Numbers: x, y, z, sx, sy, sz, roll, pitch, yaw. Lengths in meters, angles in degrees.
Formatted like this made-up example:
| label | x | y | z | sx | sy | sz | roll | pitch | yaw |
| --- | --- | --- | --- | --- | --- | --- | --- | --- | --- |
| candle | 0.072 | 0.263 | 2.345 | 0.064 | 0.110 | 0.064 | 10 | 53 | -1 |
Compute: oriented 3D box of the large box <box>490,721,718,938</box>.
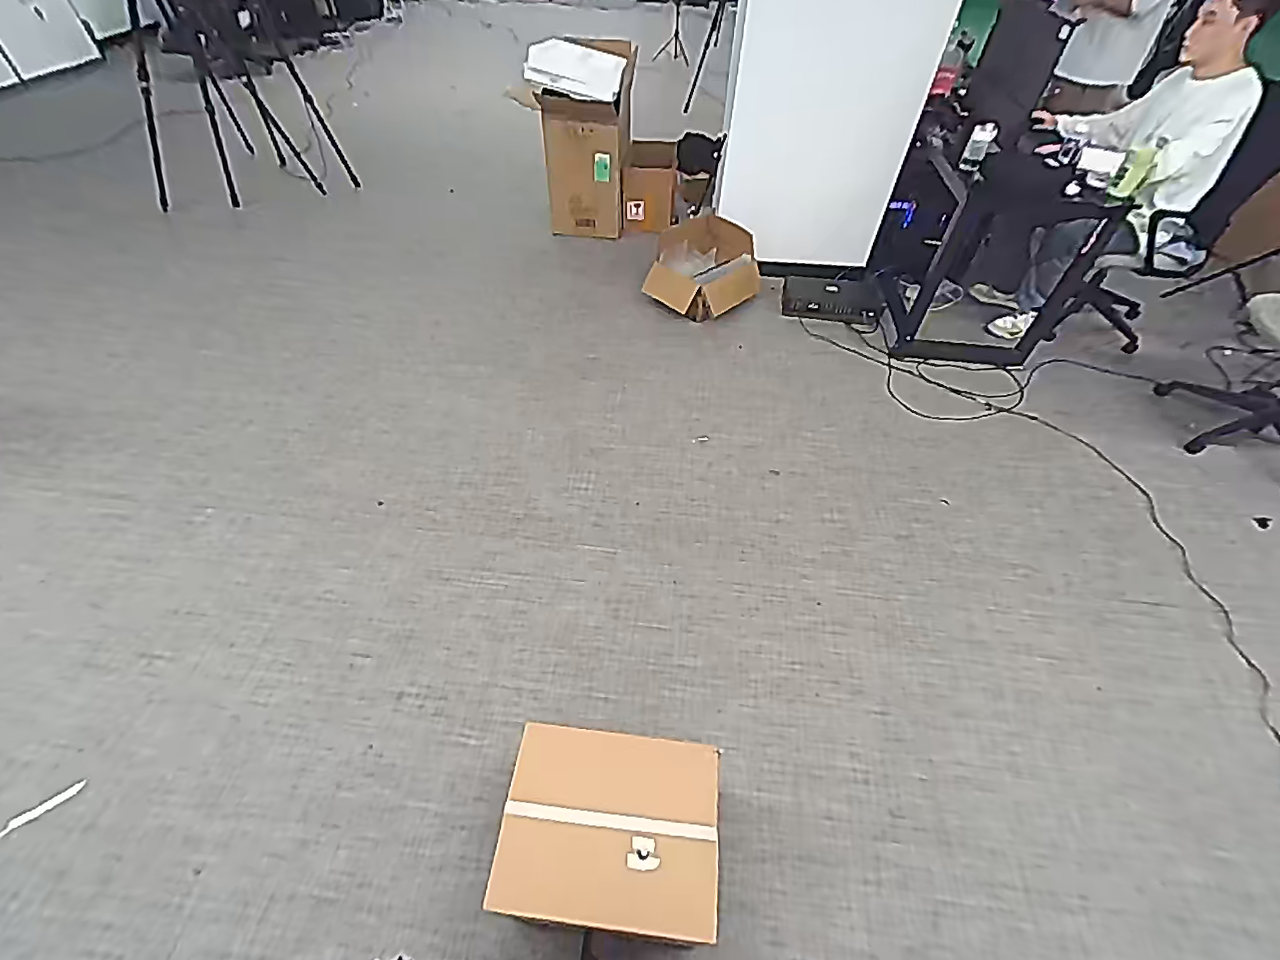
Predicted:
| label | x | y | z | sx | sy | sz | roll | pitch | yaw |
| --- | --- | --- | --- | --- | --- | --- | --- | --- | --- |
| large box | -0.059 | 0.736 | 1.135 | 0.408 | 0.320 | 0.320 | 7 | 50 | 2 |
